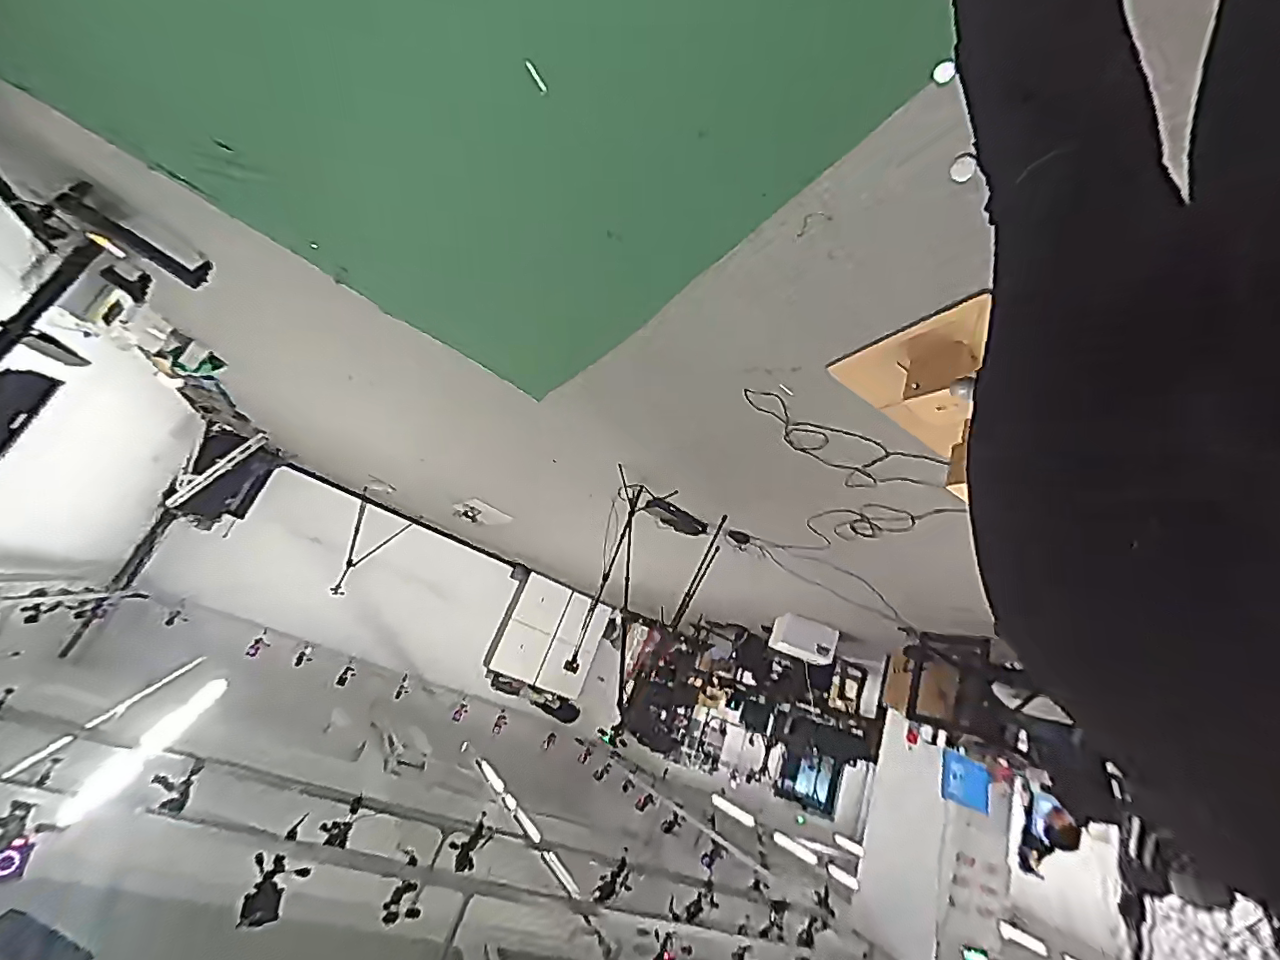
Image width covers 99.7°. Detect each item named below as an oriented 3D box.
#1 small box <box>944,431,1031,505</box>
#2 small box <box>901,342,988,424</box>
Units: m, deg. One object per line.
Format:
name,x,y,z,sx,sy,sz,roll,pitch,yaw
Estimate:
small box,1.136,-0.037,1.763,0.168,0.176,0.179,29,159,-20
small box,0.969,-0.307,1.716,0.168,0.176,0.179,29,158,-24
